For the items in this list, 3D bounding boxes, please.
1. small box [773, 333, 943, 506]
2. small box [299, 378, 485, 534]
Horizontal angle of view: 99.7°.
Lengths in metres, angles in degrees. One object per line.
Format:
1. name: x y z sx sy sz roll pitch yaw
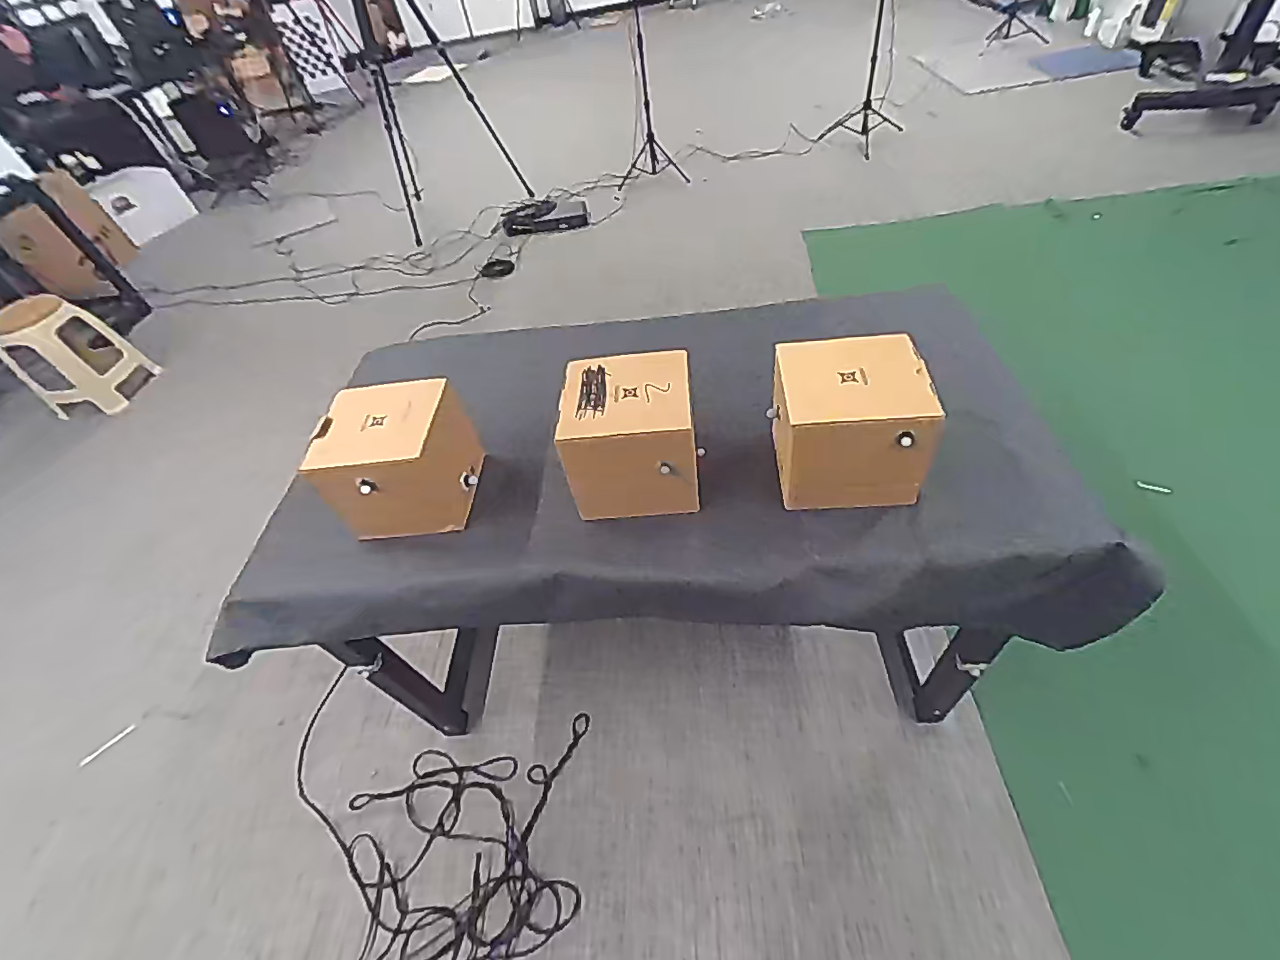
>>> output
1. small box: 0.278 -0.077 0.738 0.179 0.176 0.168 -3 49 8
2. small box: -0.358 -0.031 0.818 0.179 0.176 0.168 -5 50 5
